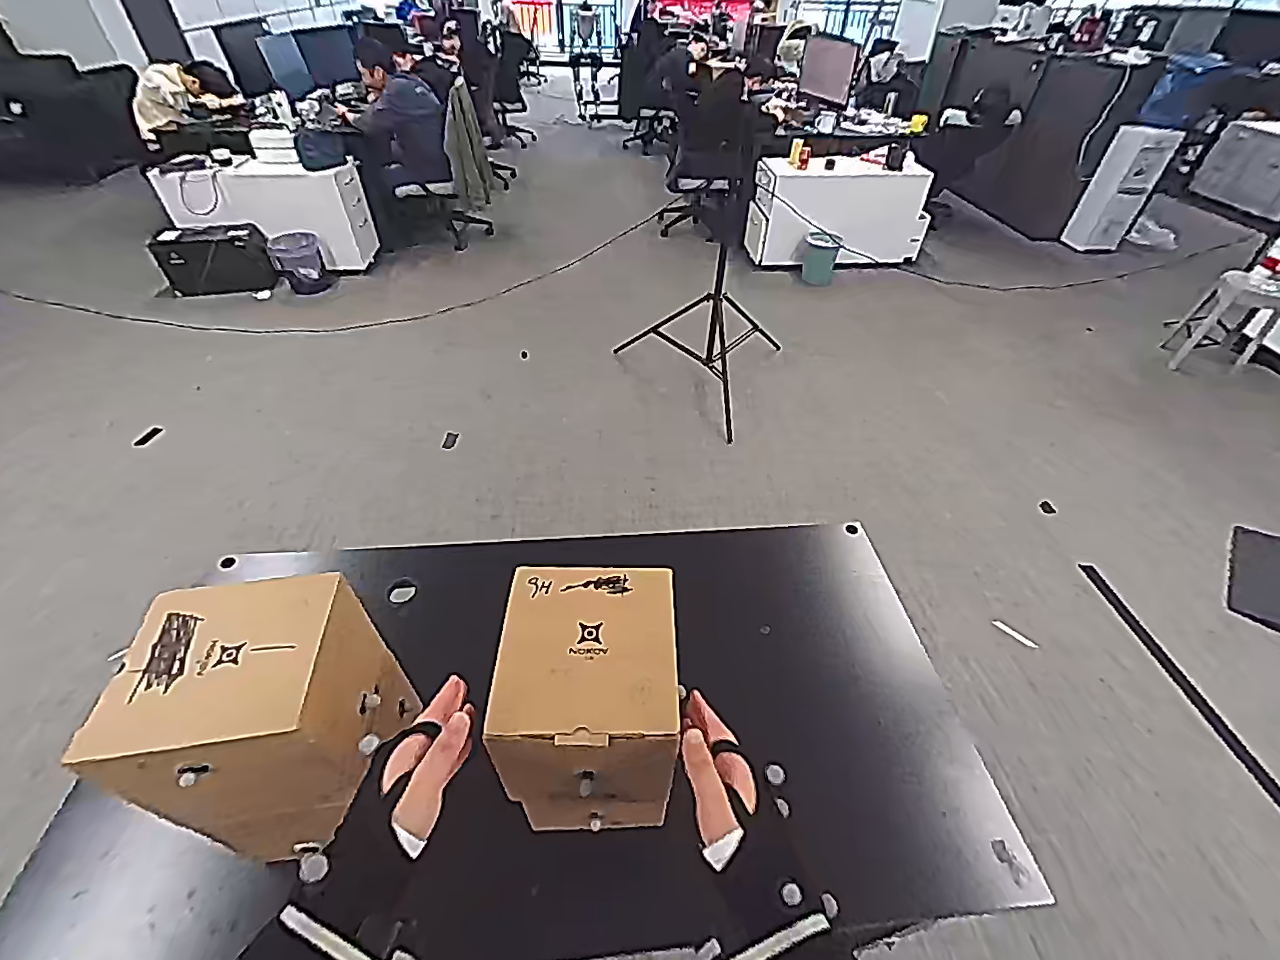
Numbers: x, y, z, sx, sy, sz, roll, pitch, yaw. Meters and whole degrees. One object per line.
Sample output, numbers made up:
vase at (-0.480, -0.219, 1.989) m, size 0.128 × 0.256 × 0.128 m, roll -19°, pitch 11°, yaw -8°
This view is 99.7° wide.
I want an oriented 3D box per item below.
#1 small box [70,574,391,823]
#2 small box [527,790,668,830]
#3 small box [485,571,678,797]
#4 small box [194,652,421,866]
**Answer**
small box at (-0.377, 0.221, 0.545) m, size 0.179 × 0.176 × 0.168 m, roll -7°, pitch 44°, yaw -8°
small box at (-0.054, 0.319, 0.687) m, size 0.168 × 0.176 × 0.179 m, roll -1°, pitch 43°, yaw -2°
small box at (-0.048, 0.214, 0.561) m, size 0.168 × 0.176 × 0.179 m, roll 0°, pitch 45°, yaw -1°
small box at (-0.379, 0.338, 0.661) m, size 0.168 × 0.176 × 0.179 m, roll -6°, pitch 45°, yaw -7°
